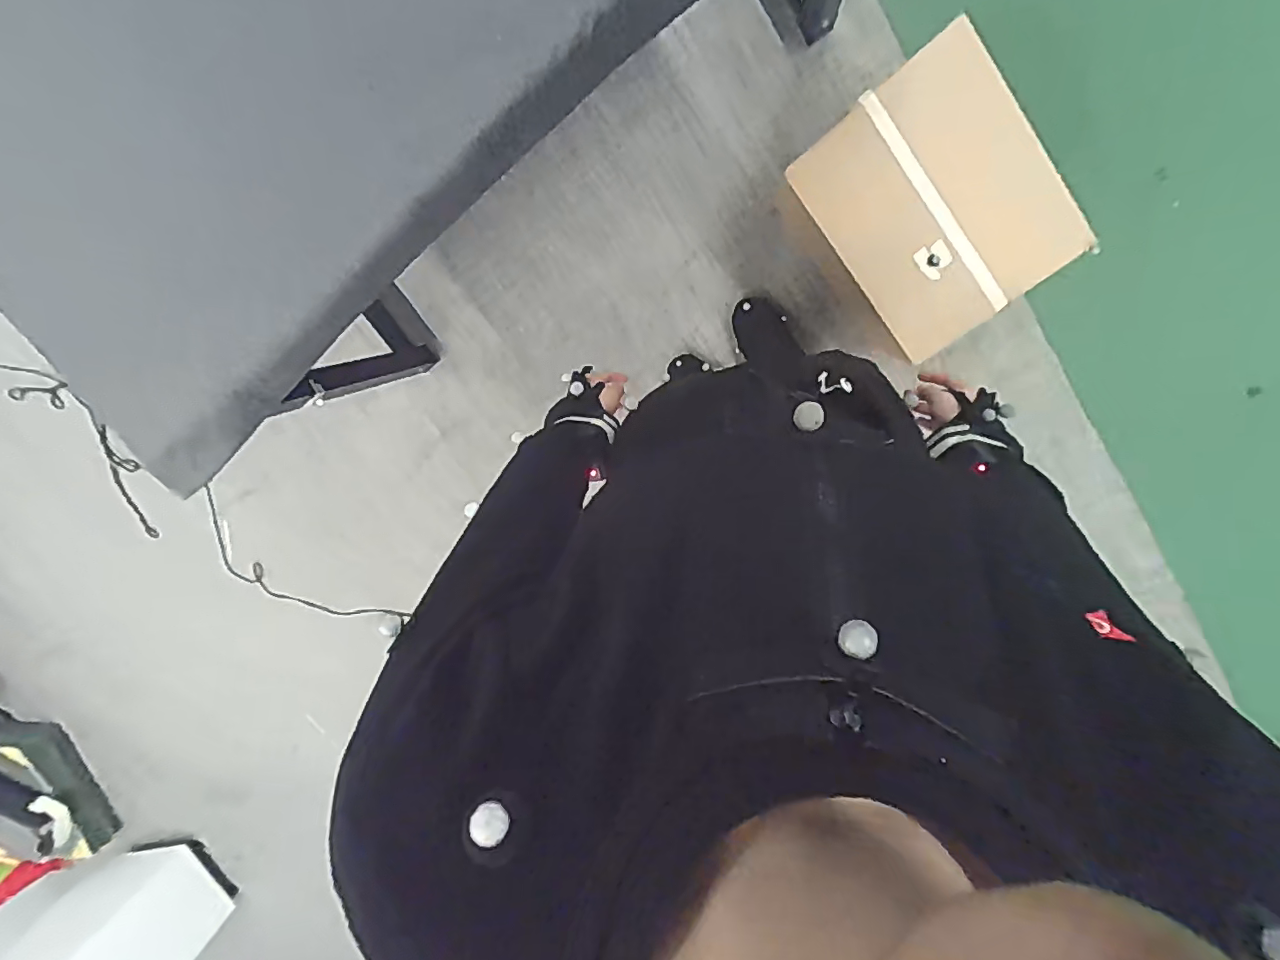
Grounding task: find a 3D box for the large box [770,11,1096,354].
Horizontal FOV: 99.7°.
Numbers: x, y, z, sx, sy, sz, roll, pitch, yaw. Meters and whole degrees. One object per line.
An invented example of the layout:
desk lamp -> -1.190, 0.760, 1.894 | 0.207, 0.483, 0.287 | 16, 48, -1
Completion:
large box -> 0.494, -0.500, 0.998 | 0.320, 0.320, 0.408 | -37, 101, 20
